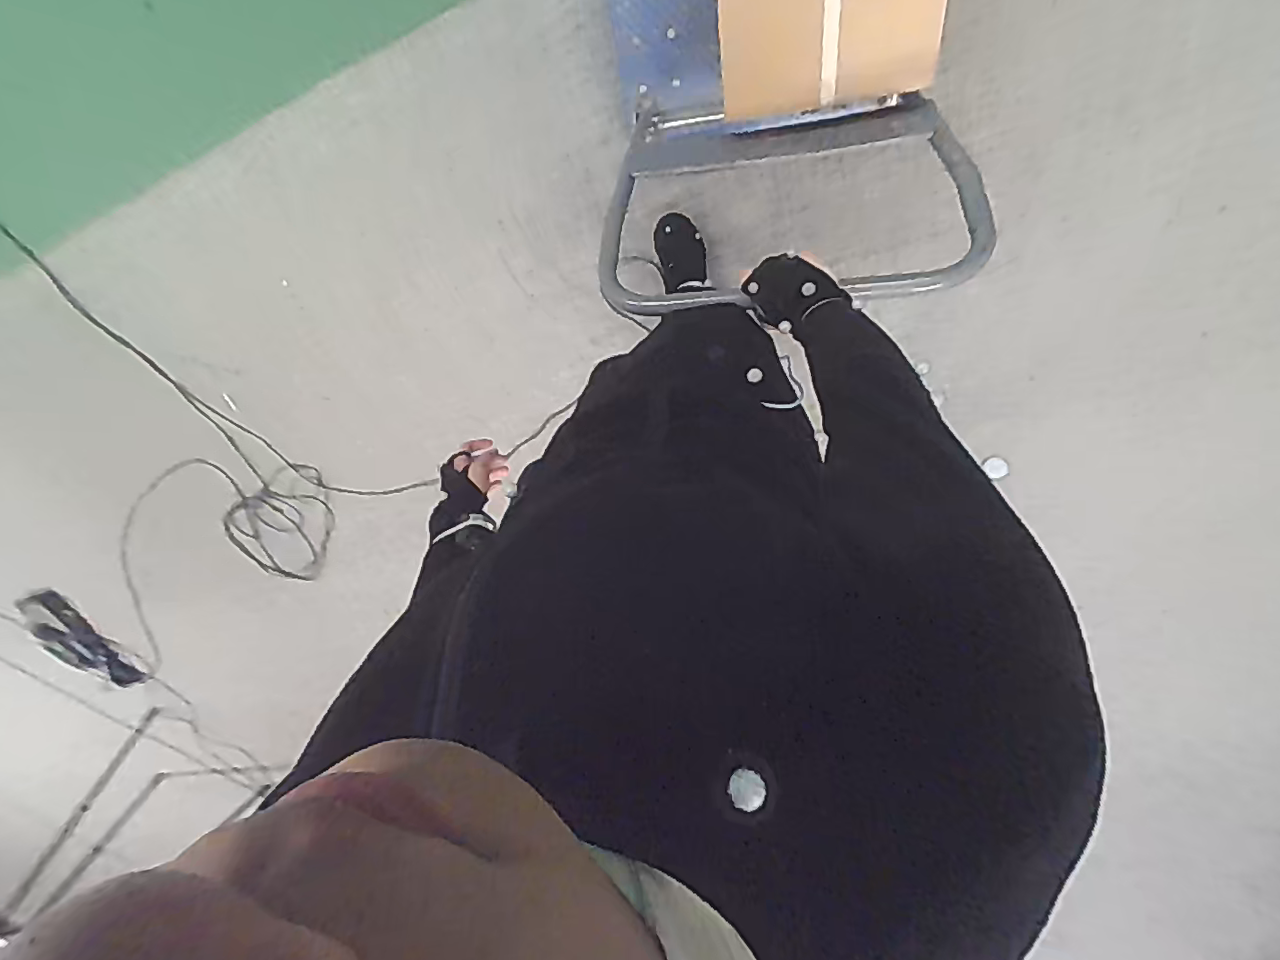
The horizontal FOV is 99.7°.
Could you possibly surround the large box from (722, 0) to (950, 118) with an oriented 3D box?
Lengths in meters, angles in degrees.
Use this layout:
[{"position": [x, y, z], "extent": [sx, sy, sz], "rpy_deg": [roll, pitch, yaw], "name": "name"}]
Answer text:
[{"position": [0.283, -0.839, 0.817], "extent": [0.320, 0.320, 0.408], "rpy_deg": [-2, 135, 12], "name": "large box"}]
